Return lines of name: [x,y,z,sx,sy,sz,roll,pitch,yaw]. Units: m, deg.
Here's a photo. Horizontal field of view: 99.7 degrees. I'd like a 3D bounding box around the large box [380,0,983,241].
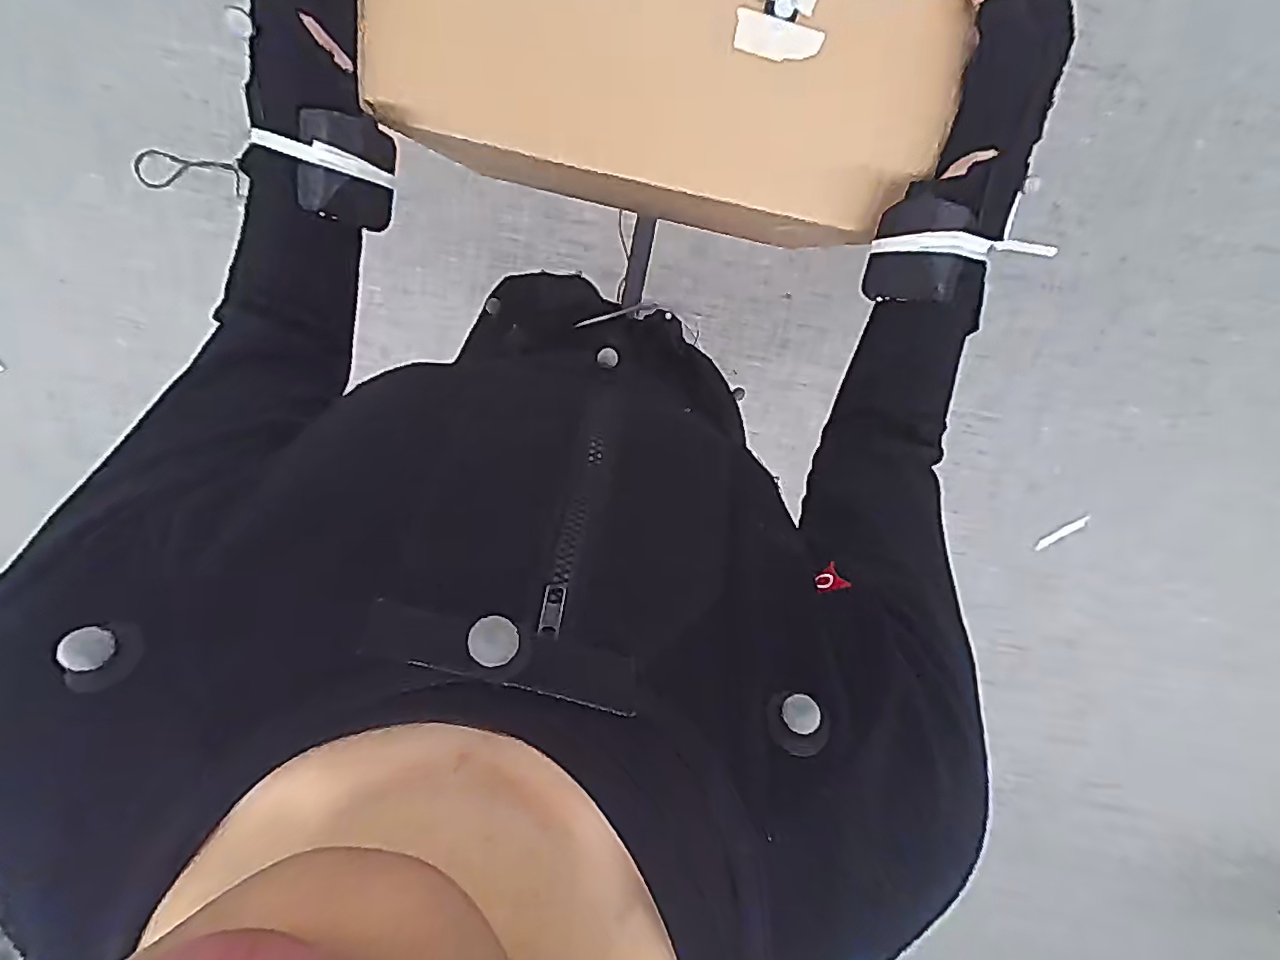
large box: [0.033,-0.417,0.481,0.408,0.320,0.320,10,113,-6]
